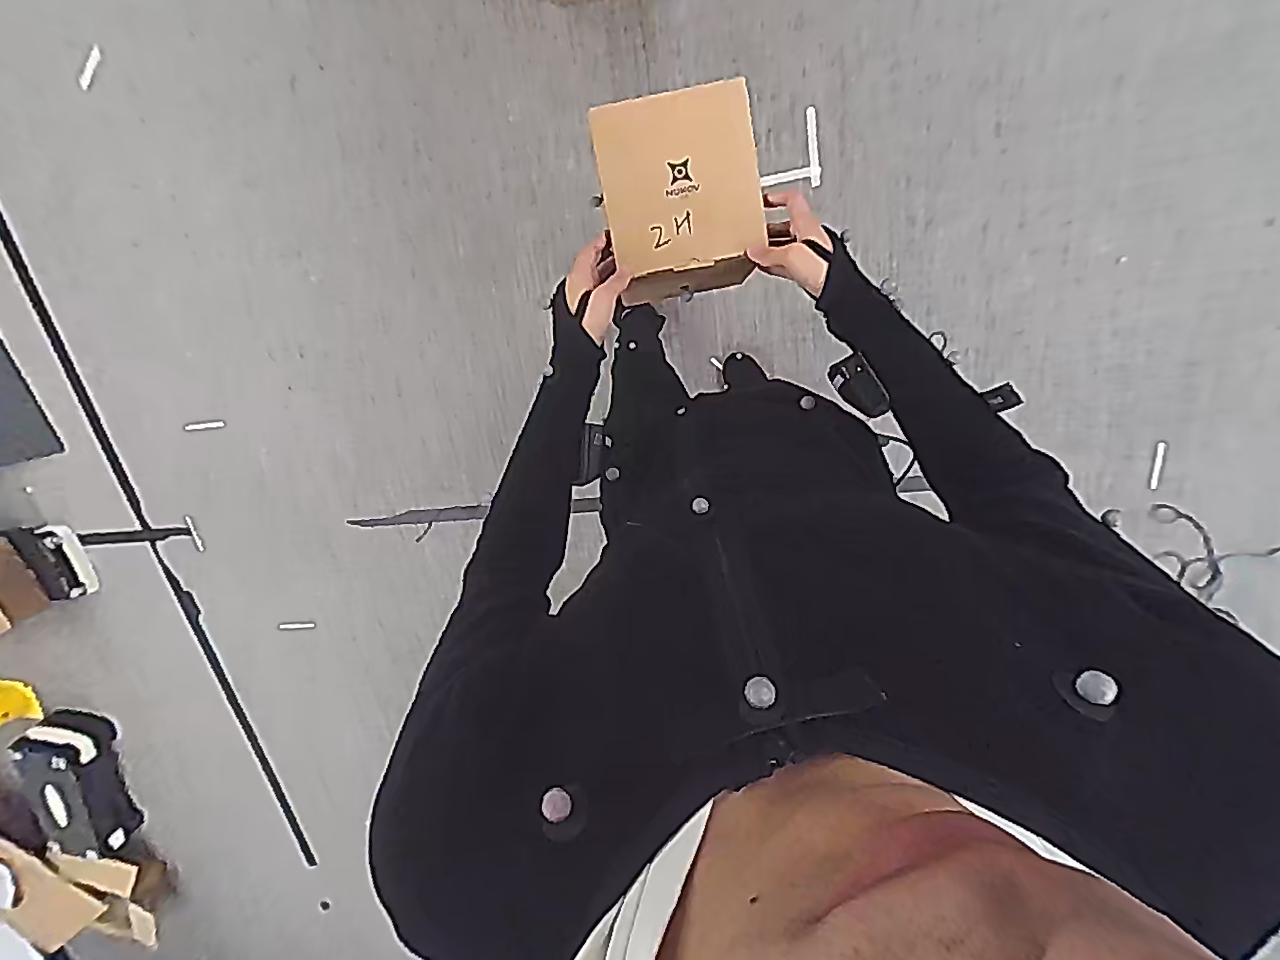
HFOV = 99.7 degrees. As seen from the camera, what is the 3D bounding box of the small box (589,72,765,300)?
[{"bbox_3d":[0.039,-0.329,0.641,0.168,0.176,0.179,-10,99,2],"label":"small box"}]
